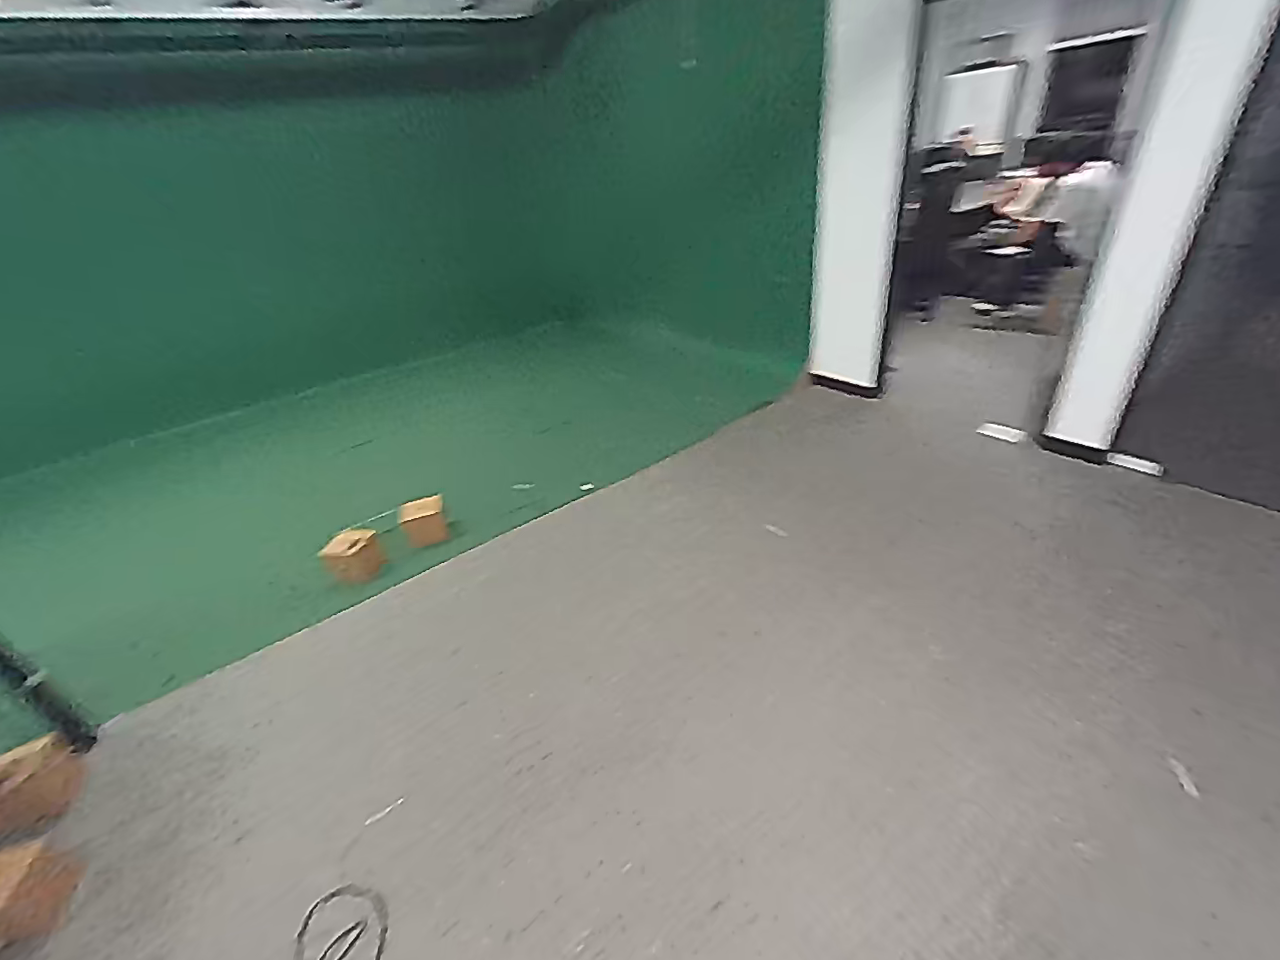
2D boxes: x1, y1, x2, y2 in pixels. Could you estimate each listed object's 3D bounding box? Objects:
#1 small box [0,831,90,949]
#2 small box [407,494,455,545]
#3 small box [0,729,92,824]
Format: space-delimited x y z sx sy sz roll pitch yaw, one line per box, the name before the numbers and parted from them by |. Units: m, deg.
small box | -1.595 1.060 1.395 0.168 0.176 0.179 -14 34 -10
small box | -1.025 0.199 2.659 0.179 0.176 0.168 -14 33 -11
small box | -1.861 0.922 1.670 0.168 0.176 0.179 -22 34 -23
